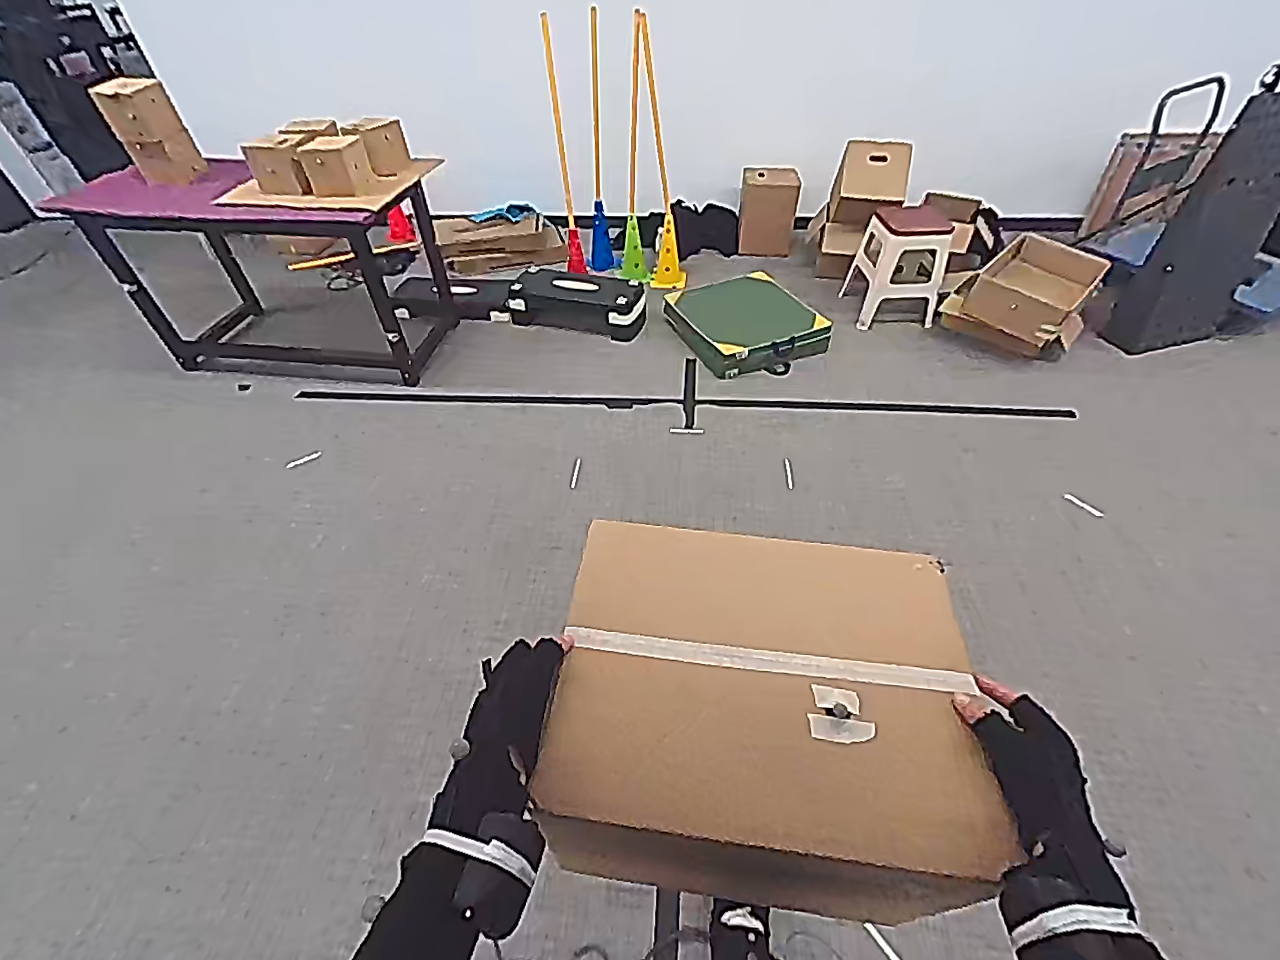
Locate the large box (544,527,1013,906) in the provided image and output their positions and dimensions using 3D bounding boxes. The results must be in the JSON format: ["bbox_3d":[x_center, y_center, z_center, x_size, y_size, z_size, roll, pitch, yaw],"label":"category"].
[{"bbox_3d":[0.125,0.287,0.663,0.408,0.320,0.320,6,48,5],"label":"large box"}]
